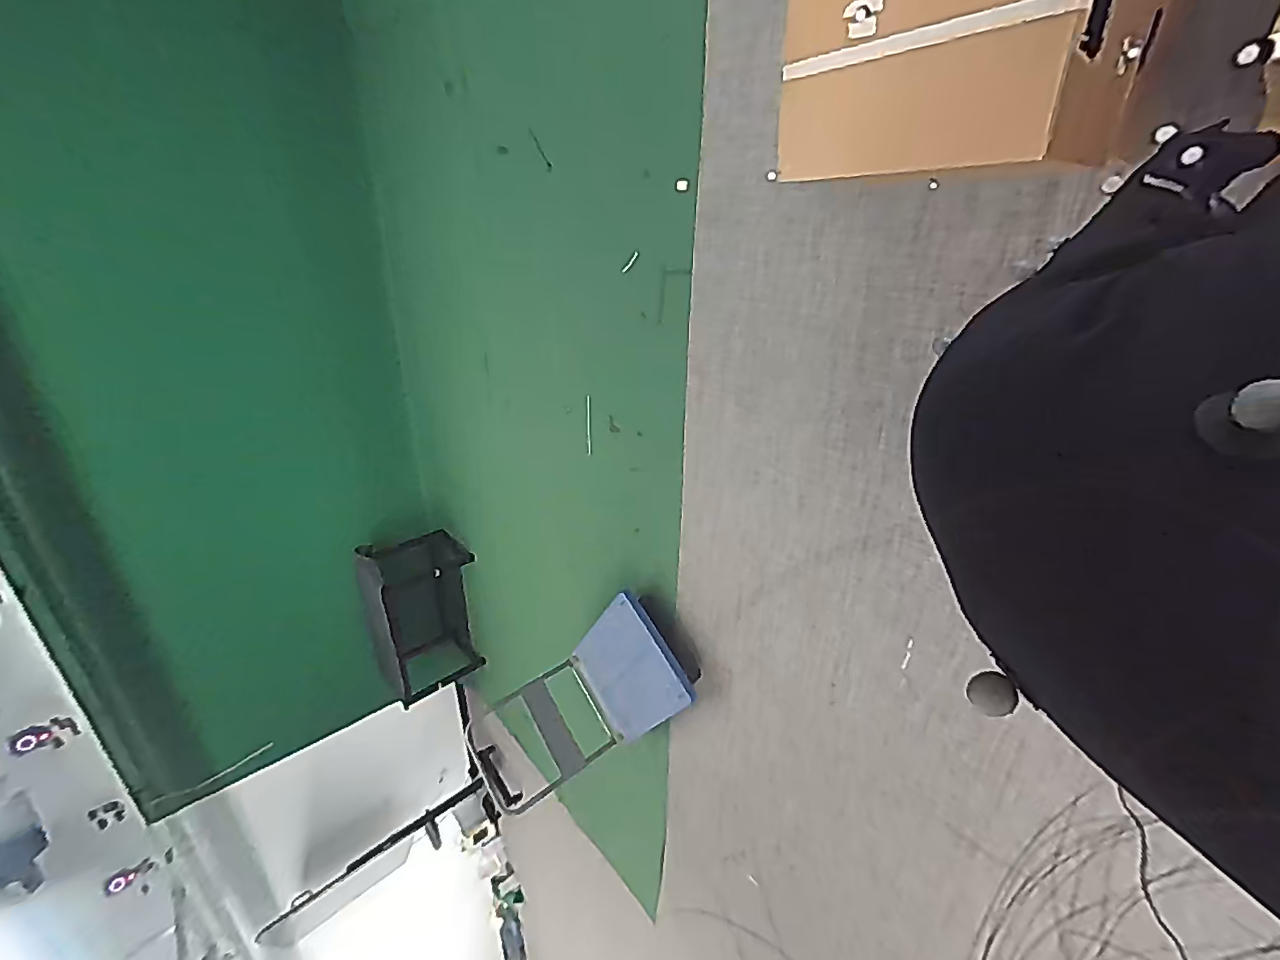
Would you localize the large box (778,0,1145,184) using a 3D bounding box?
[{"bbox_3d":[0.478,-0.649,0.834,0.408,0.320,0.320,25,127,44],"label":"large box"}]
